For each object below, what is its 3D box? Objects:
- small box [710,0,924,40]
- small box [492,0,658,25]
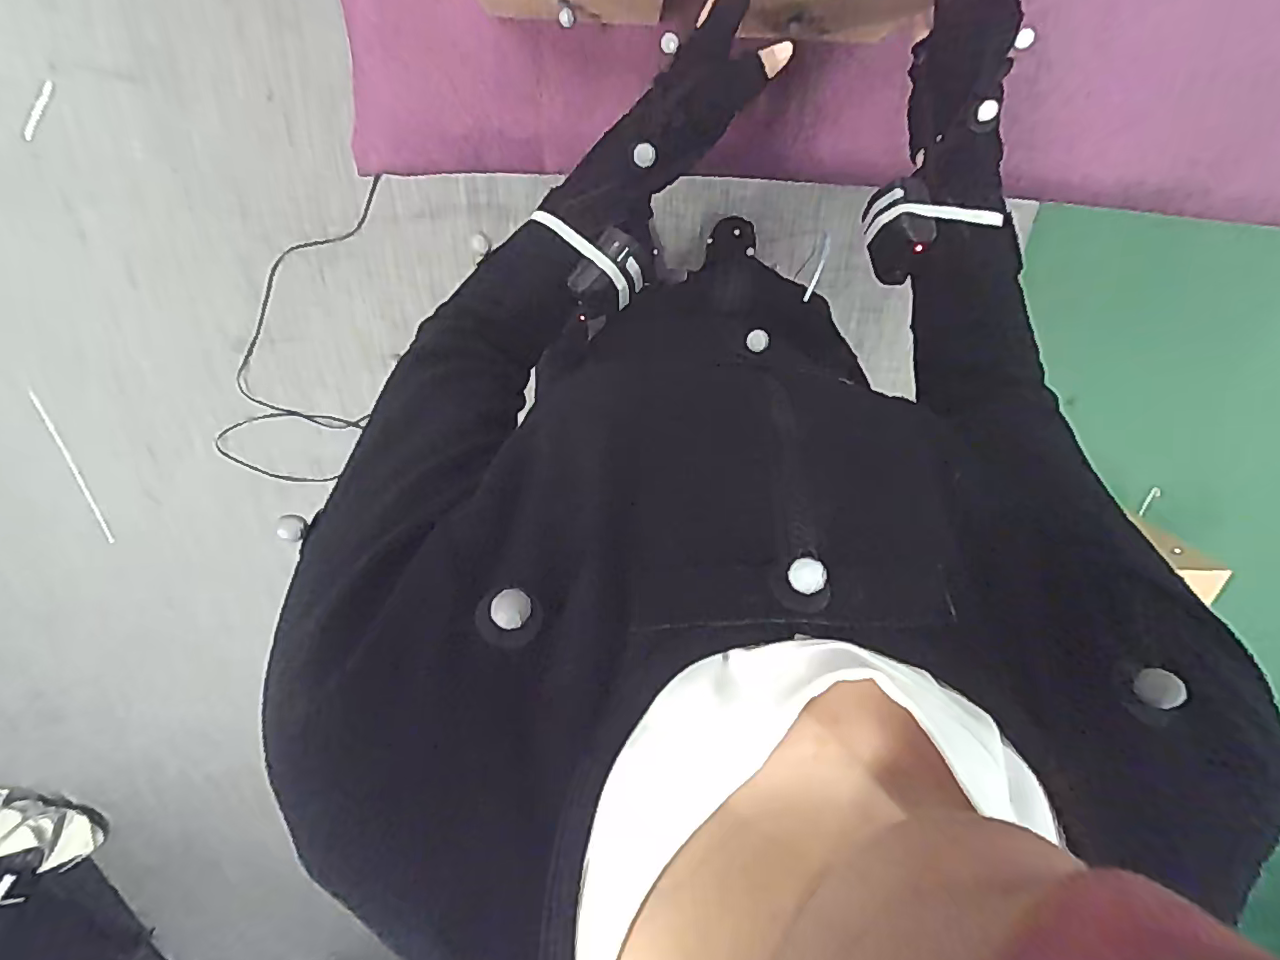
[{"bbox_3d":[0.153,-0.483,0.427,0.168,0.176,0.179,1,118,-2],"label":"small box"},{"bbox_3d":[-0.060,-0.489,0.415,0.168,0.176,0.179,1,118,-2],"label":"small box"}]
